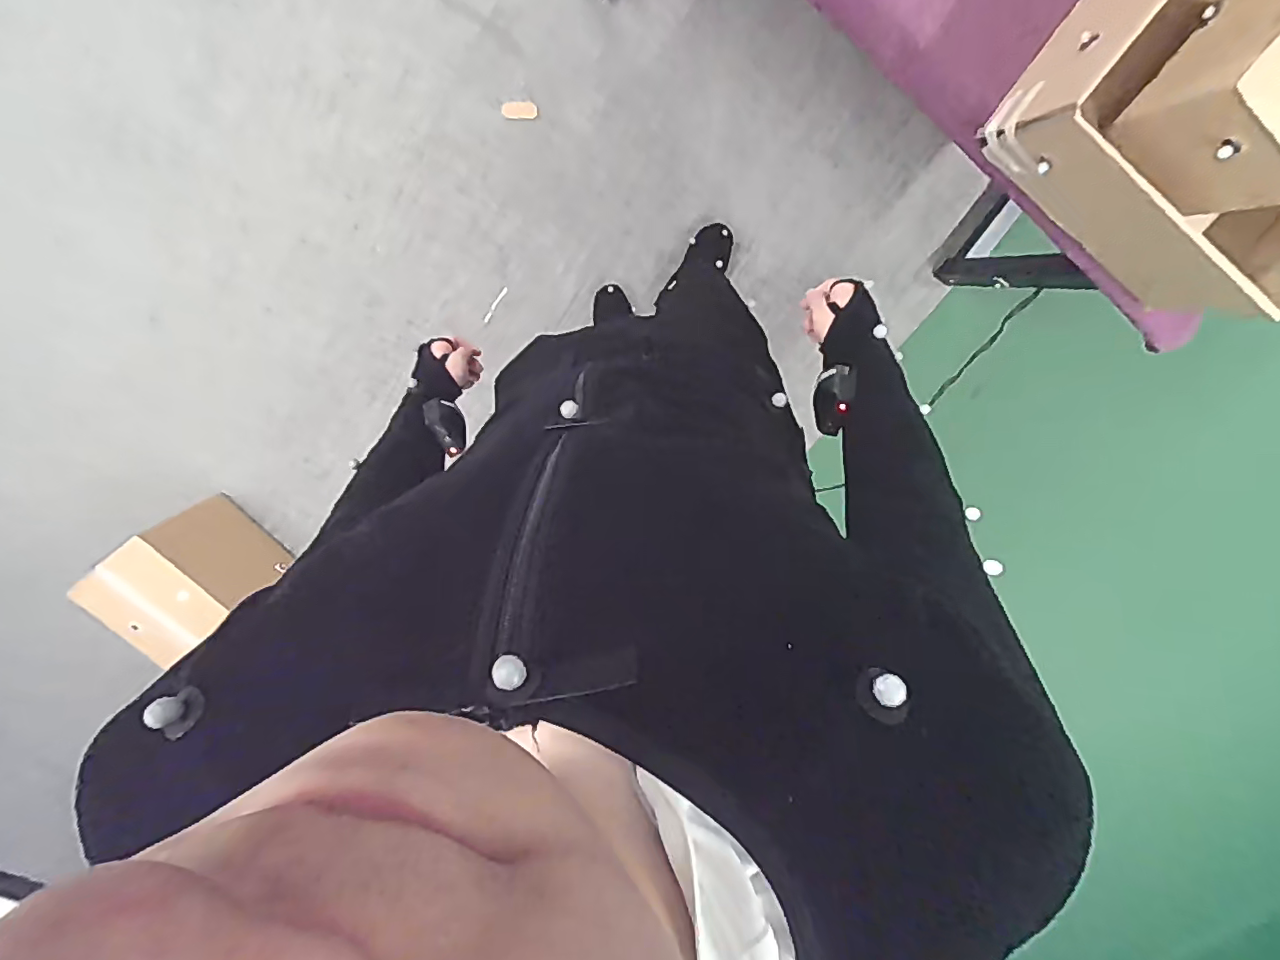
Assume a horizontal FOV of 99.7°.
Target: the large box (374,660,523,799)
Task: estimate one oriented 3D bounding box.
[{"bbox_3d":[-0.624,0.836,1.834,0.408,0.320,0.320,3,111,-3],"label":"large box"}]
